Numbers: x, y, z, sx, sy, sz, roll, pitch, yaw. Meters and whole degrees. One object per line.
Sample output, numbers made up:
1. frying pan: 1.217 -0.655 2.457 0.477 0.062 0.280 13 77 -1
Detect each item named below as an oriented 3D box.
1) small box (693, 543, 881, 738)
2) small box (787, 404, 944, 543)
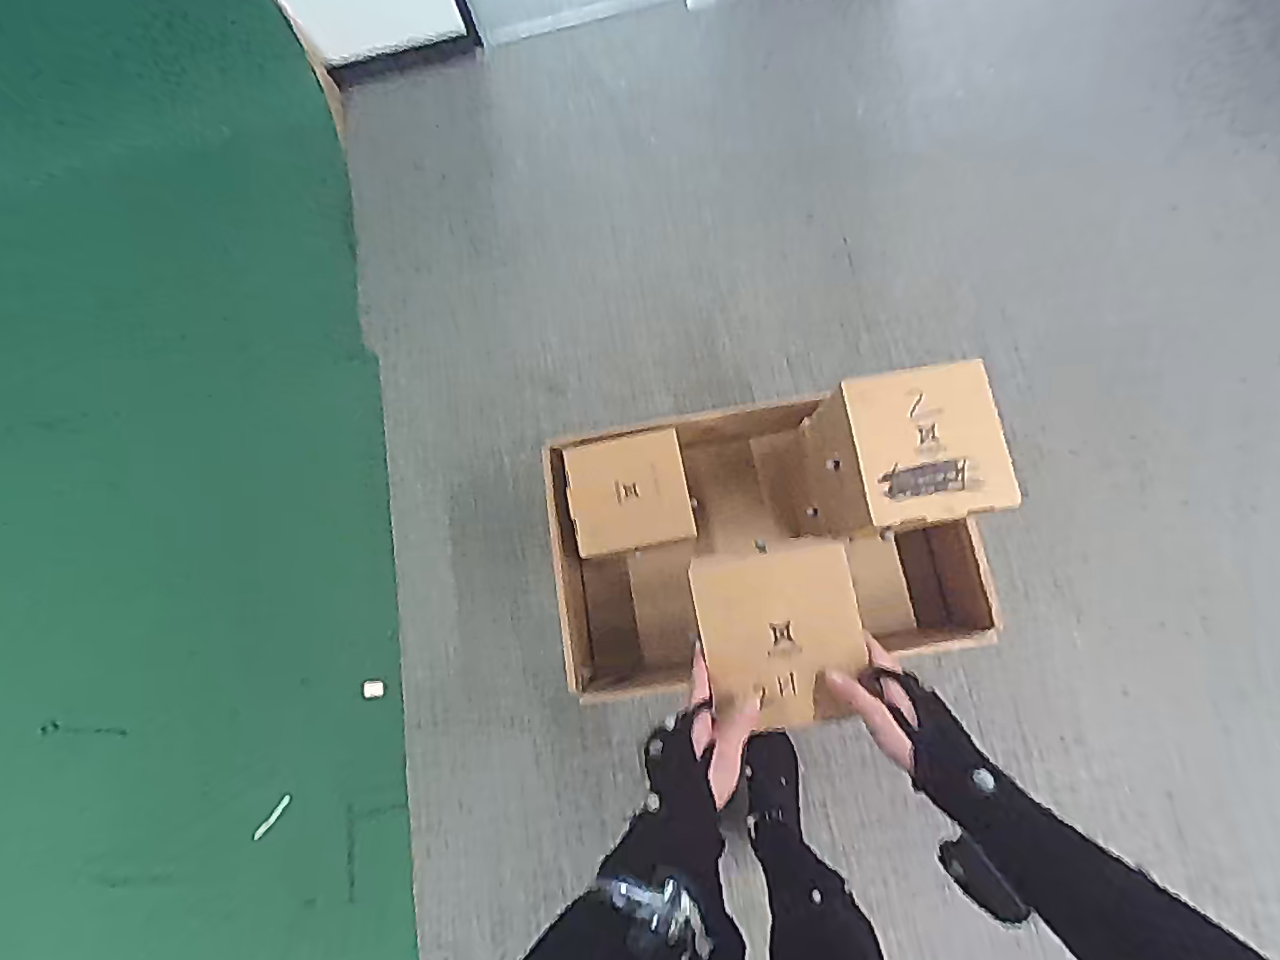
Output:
1. small box: 0.156 0.171 0.632 0.168 0.176 0.179 -11 85 6
2. small box: 0.341 -0.001 0.855 0.168 0.176 0.179 -9 79 3
